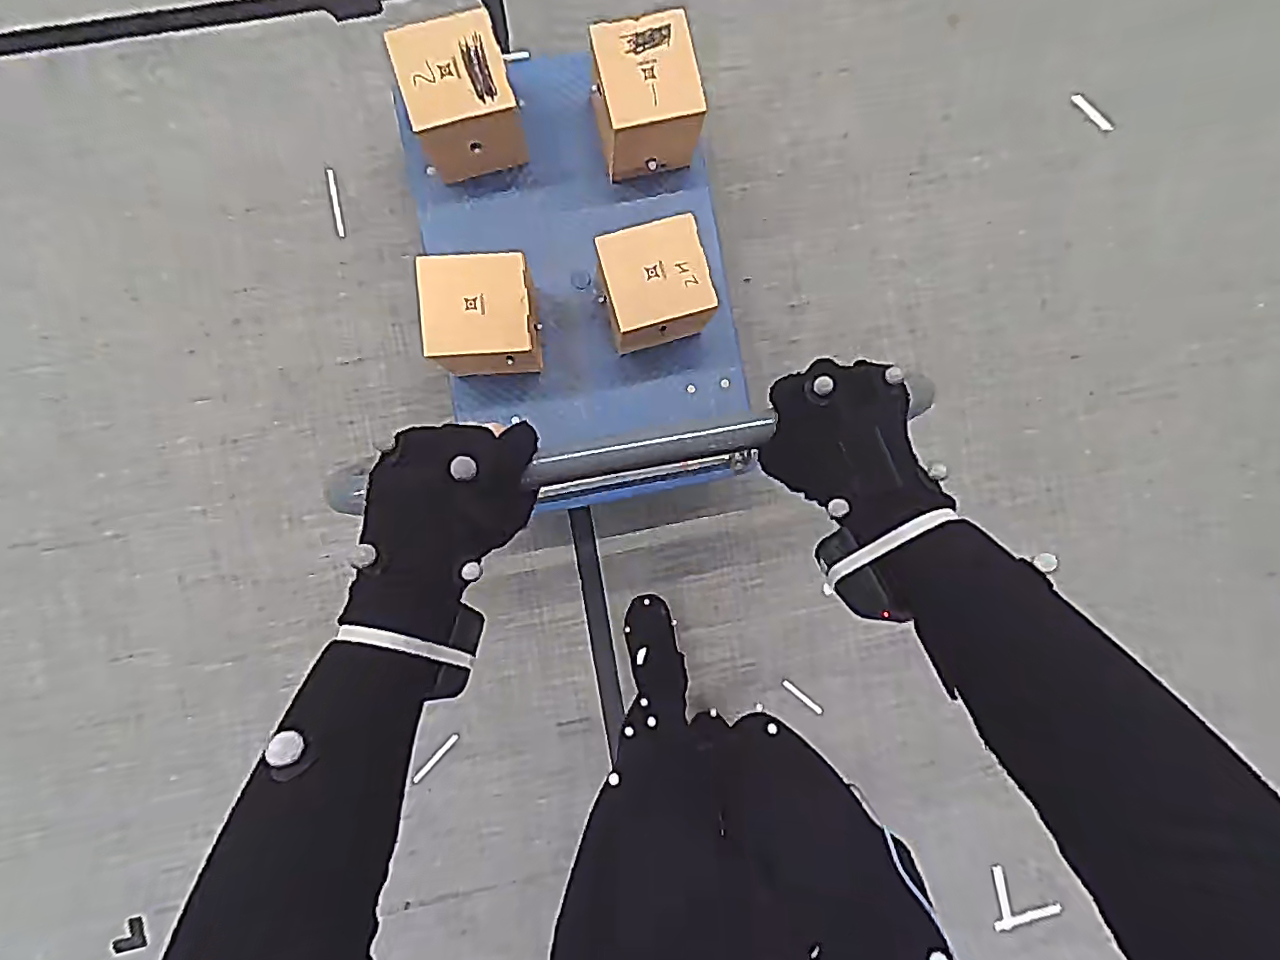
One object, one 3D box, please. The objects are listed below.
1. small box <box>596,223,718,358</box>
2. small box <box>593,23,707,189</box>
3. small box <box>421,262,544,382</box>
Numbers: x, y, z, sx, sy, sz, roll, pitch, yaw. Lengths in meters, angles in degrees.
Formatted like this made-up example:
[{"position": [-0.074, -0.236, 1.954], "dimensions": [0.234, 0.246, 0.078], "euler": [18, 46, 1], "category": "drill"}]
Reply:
[{"position": [0.026, -0.335, 0.993], "dimensions": [0.179, 0.176, 0.168], "euler": [-16, 91, -3], "category": "small box"}, {"position": [0.010, -0.673, 0.991], "dimensions": [0.168, 0.176, 0.179], "euler": [-14, 92, -4], "category": "small box"}, {"position": [-0.275, -0.276, 0.974], "dimensions": [0.179, 0.176, 0.168], "euler": [-5, 90, -5], "category": "small box"}]
